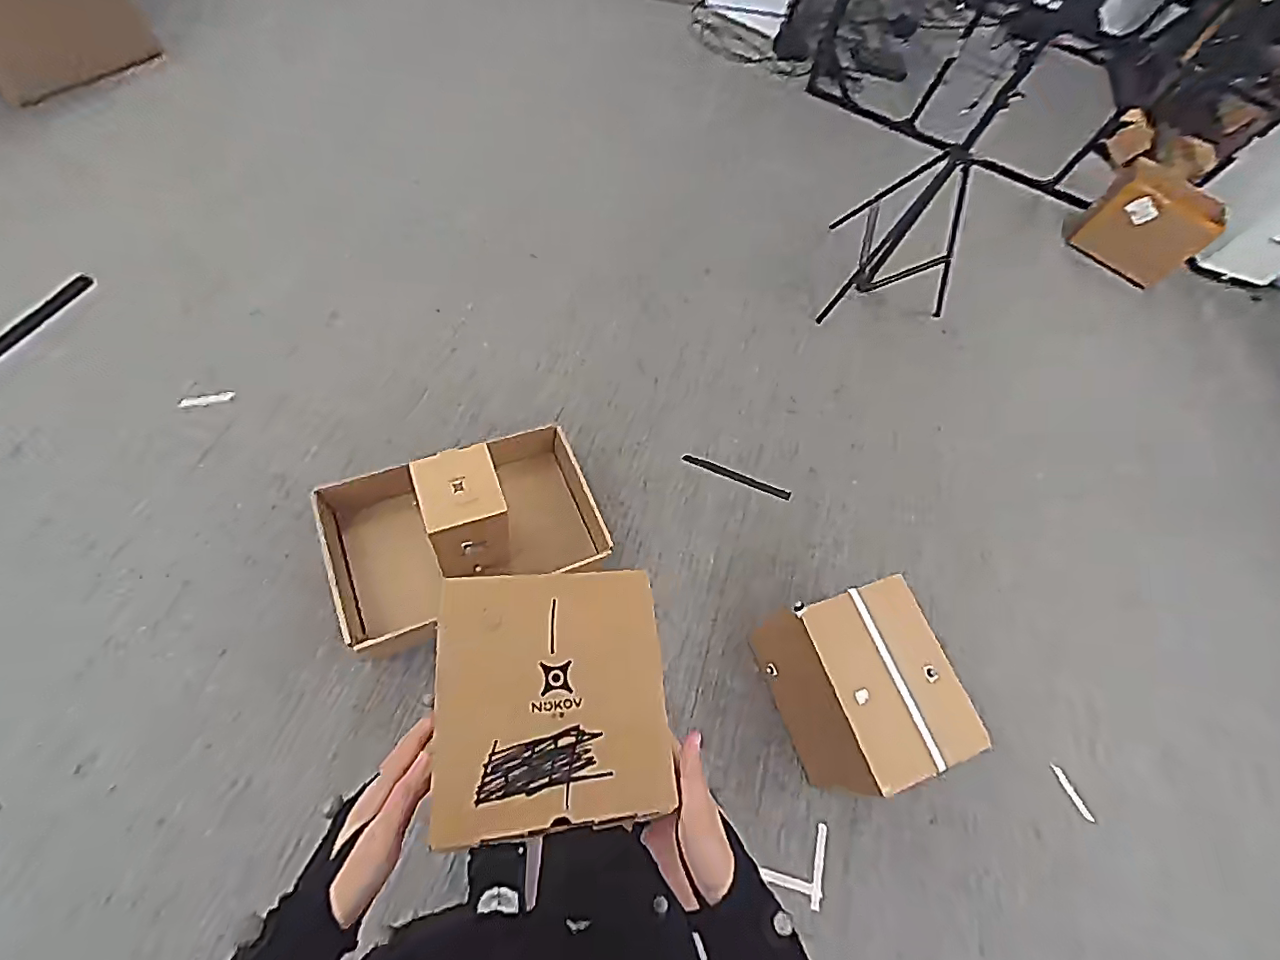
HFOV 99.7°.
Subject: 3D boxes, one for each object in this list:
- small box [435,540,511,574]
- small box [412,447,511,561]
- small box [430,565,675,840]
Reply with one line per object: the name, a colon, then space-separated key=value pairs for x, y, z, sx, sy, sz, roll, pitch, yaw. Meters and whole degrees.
small box: x=-0.423 y=0.132 z=1.339 sx=0.168 sy=0.176 sz=0.179 roll=-15 pitch=67 yaw=-19
small box: x=-0.391 y=0.057 z=1.198 sx=0.168 sy=0.176 sz=0.179 roll=-17 pitch=69 yaw=-19
small box: x=-0.081 y=0.183 z=0.464 sx=0.168 sy=0.176 sz=0.179 roll=0 pitch=63 yaw=-16
